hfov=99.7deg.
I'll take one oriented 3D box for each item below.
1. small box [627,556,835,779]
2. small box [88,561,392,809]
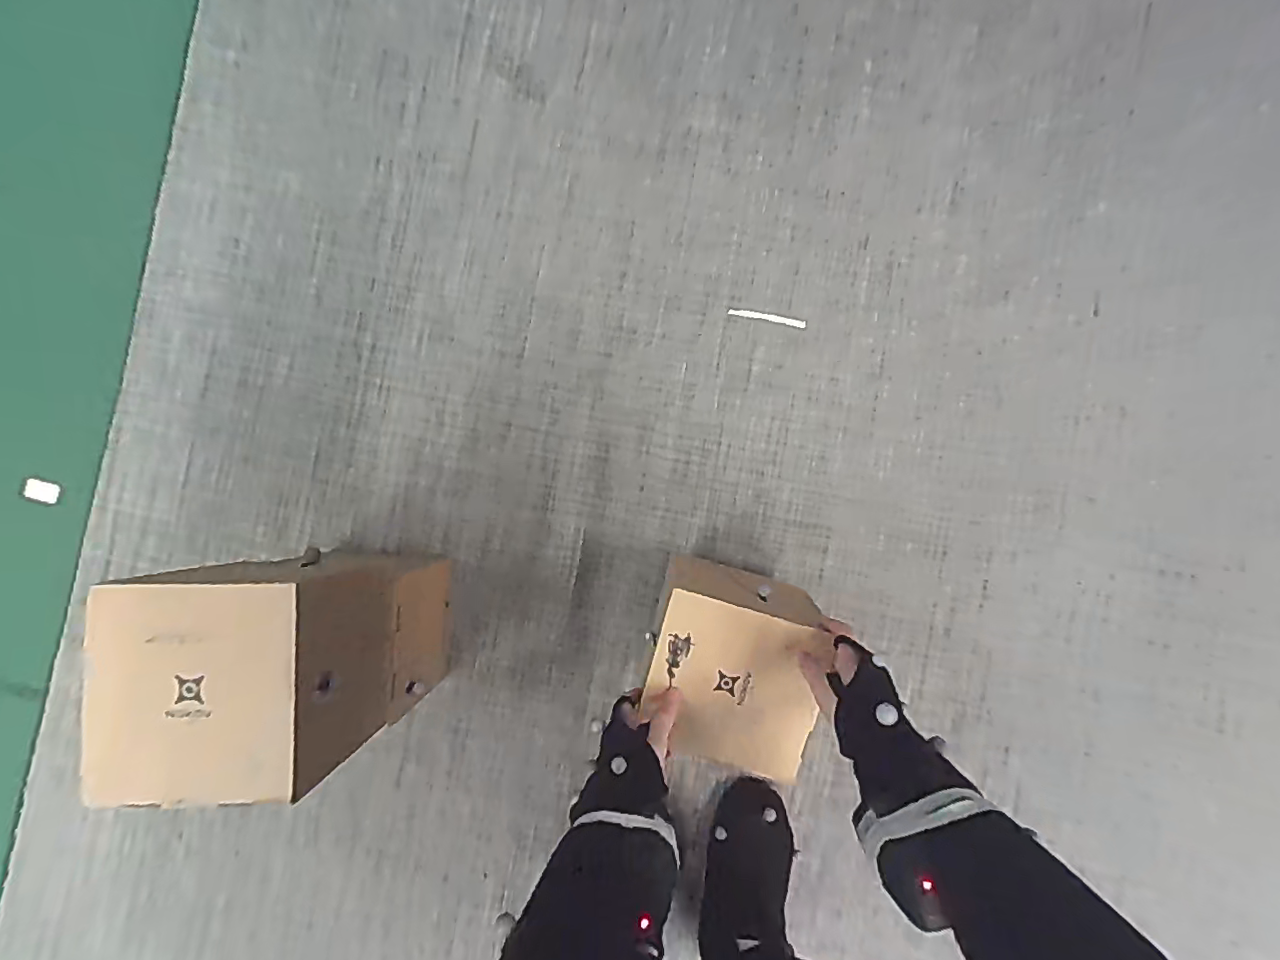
[{"bbox_3d":[0.095,0.201,0.630,0.179,0.176,0.168,16,96,2],"label":"small box"},{"bbox_3d":[-0.351,0.174,0.508,0.168,0.176,0.179,0,87,0],"label":"small box"}]
